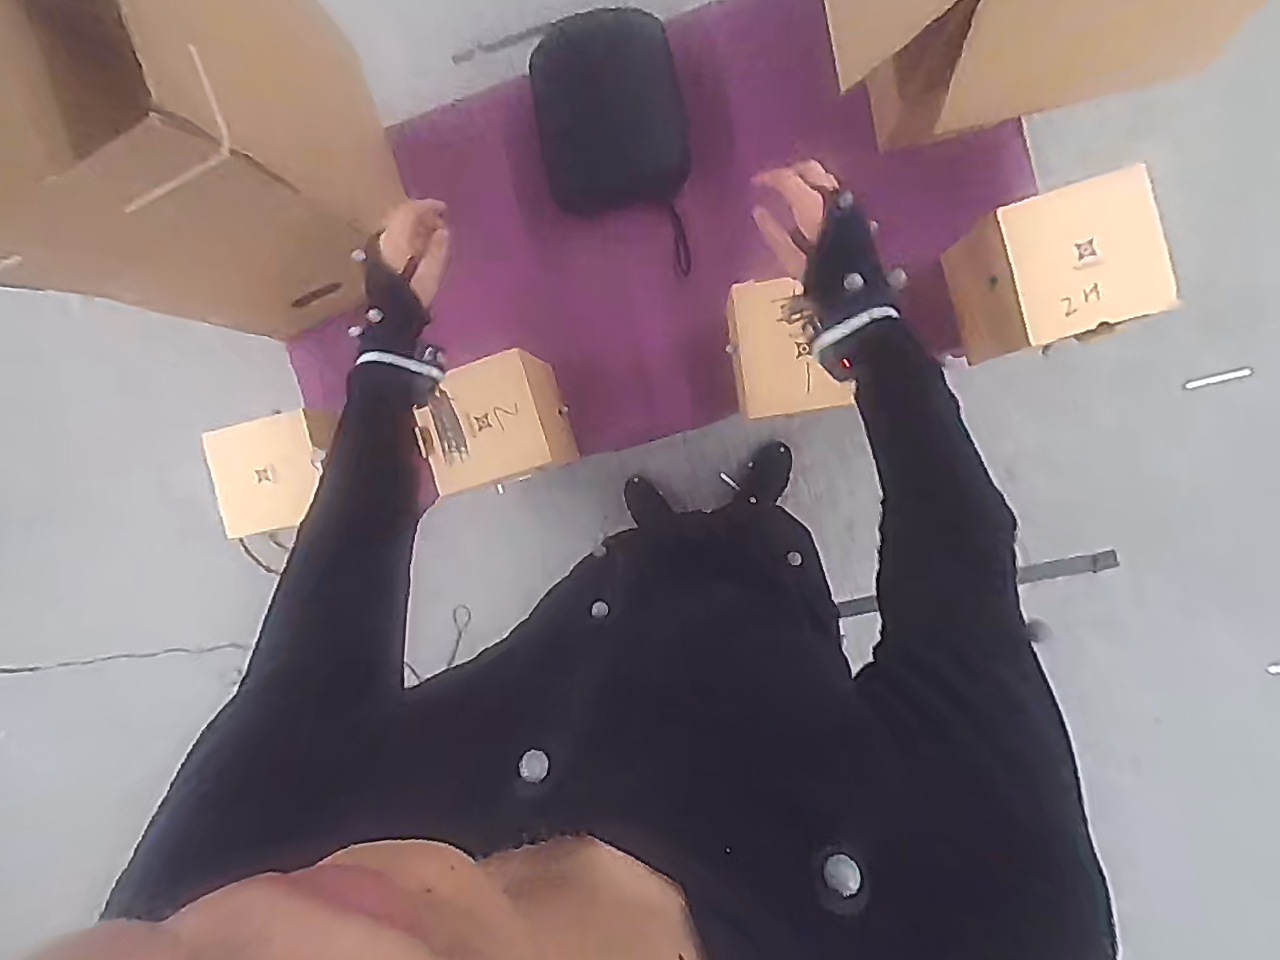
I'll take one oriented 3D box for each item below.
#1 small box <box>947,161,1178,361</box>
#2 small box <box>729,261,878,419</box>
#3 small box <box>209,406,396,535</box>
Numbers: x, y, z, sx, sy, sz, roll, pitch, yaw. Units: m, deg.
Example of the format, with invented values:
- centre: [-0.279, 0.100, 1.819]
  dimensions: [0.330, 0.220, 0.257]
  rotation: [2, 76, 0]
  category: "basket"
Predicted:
- centre: [0.538, -0.273, 0.717]
  dimensions: [0.168, 0.176, 0.179]
  rotation: [-15, 92, 9]
  category: "small box"
- centre: [0.221, -0.186, 0.768]
  dimensions: [0.168, 0.176, 0.179]
  rotation: [-8, 94, 8]
  category: "small box"
- centre: [-0.537, -0.016, 0.880]
  dimensions: [0.179, 0.176, 0.168]
  rotation: [-13, 92, 7]
  category: "small box"
